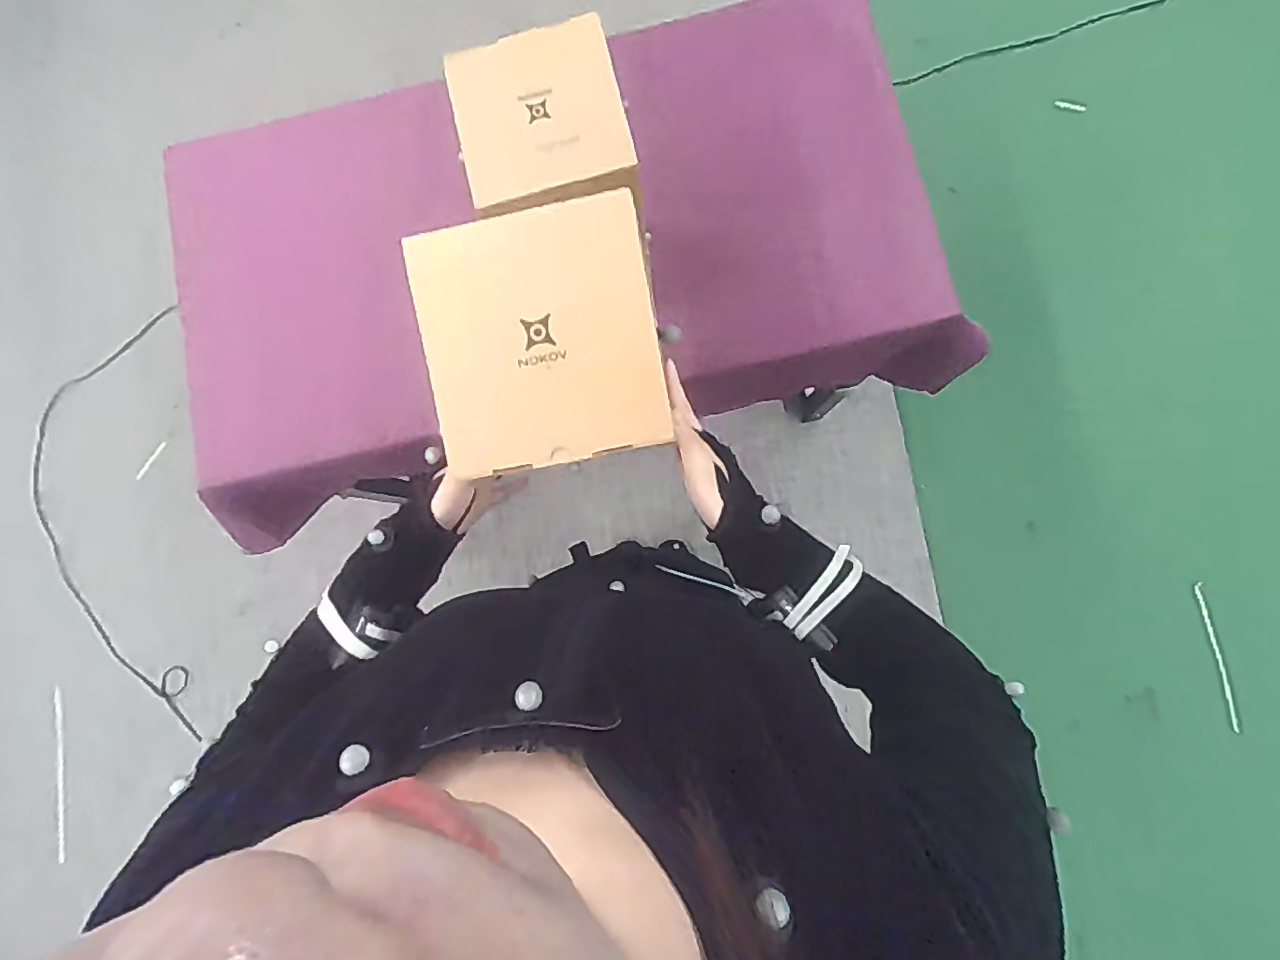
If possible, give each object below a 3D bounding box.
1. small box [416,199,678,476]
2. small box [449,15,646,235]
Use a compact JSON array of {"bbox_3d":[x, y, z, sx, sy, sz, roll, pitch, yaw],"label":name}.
[{"bbox_3d":[-0.063,-0.105,0.465,0.168,0.176,0.179,-10,94,4],"label":"small box"},{"bbox_3d":[-0.093,-0.356,0.613,0.168,0.176,0.179,-13,83,3],"label":"small box"}]
